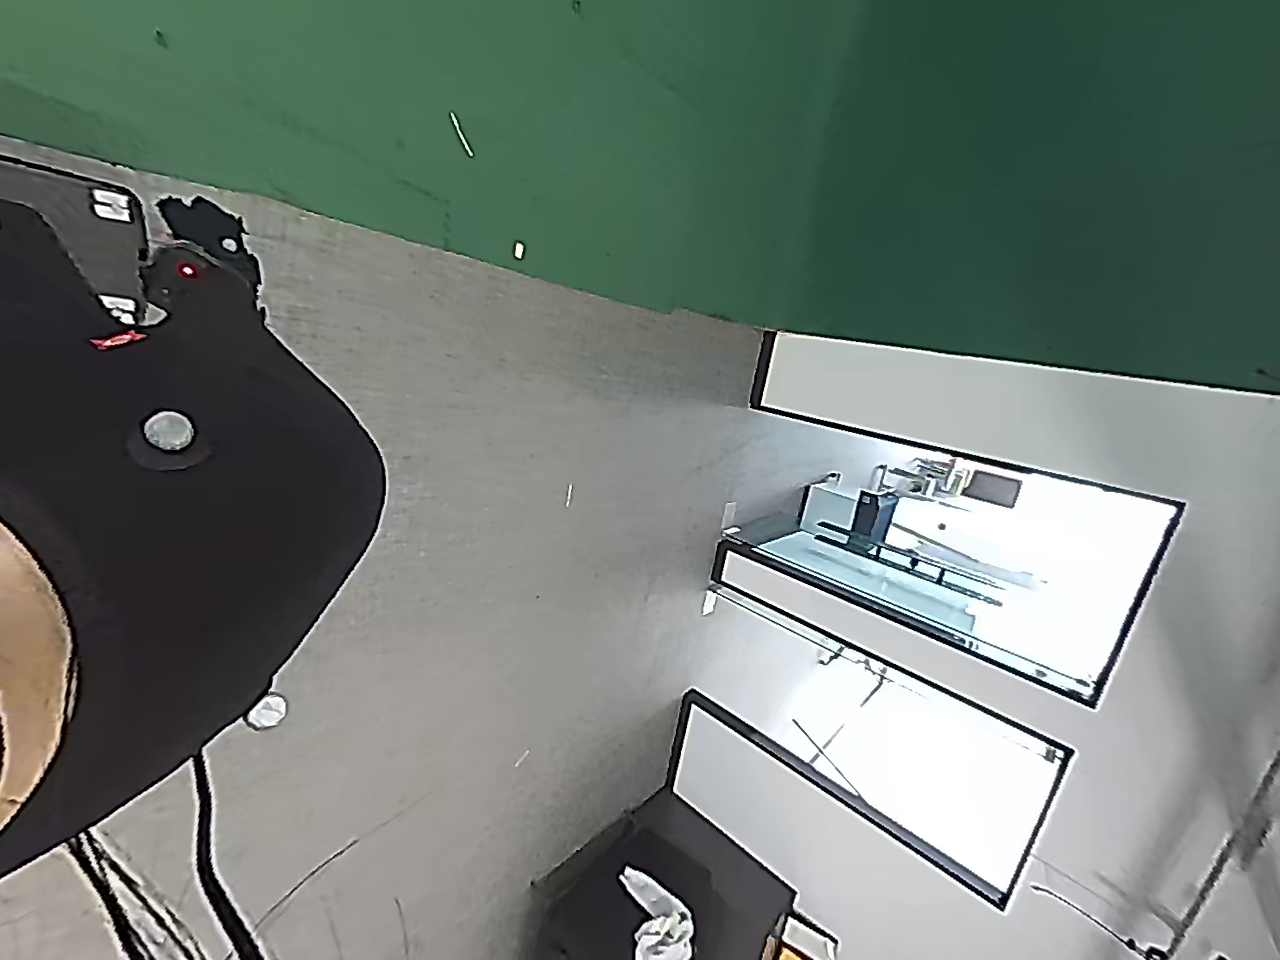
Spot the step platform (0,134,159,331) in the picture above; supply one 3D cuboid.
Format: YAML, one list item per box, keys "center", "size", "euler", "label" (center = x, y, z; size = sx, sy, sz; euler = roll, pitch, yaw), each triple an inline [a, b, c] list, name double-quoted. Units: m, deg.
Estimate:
- center: [-1.130, -0.397, 0.743]
  size: [0.684, 0.204, 0.286]
  euler: [-6, 112, -49]
  label: "step platform"
